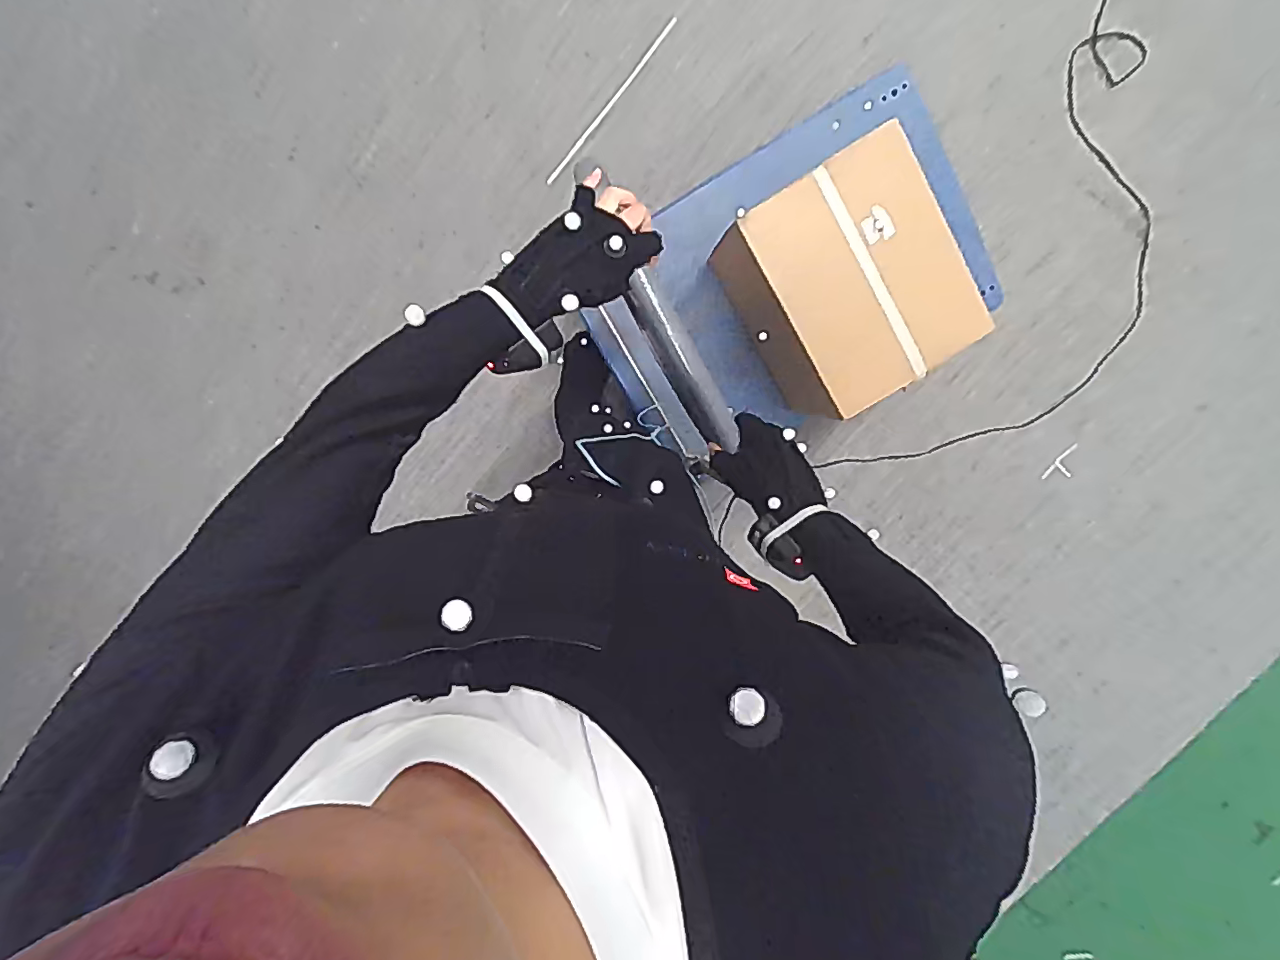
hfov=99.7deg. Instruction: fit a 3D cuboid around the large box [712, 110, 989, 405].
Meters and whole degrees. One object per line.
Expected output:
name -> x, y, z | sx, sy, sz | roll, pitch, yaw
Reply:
large box -> 0.390, -0.402, 1.088 | 0.320, 0.320, 0.408 | -31, 99, 4
